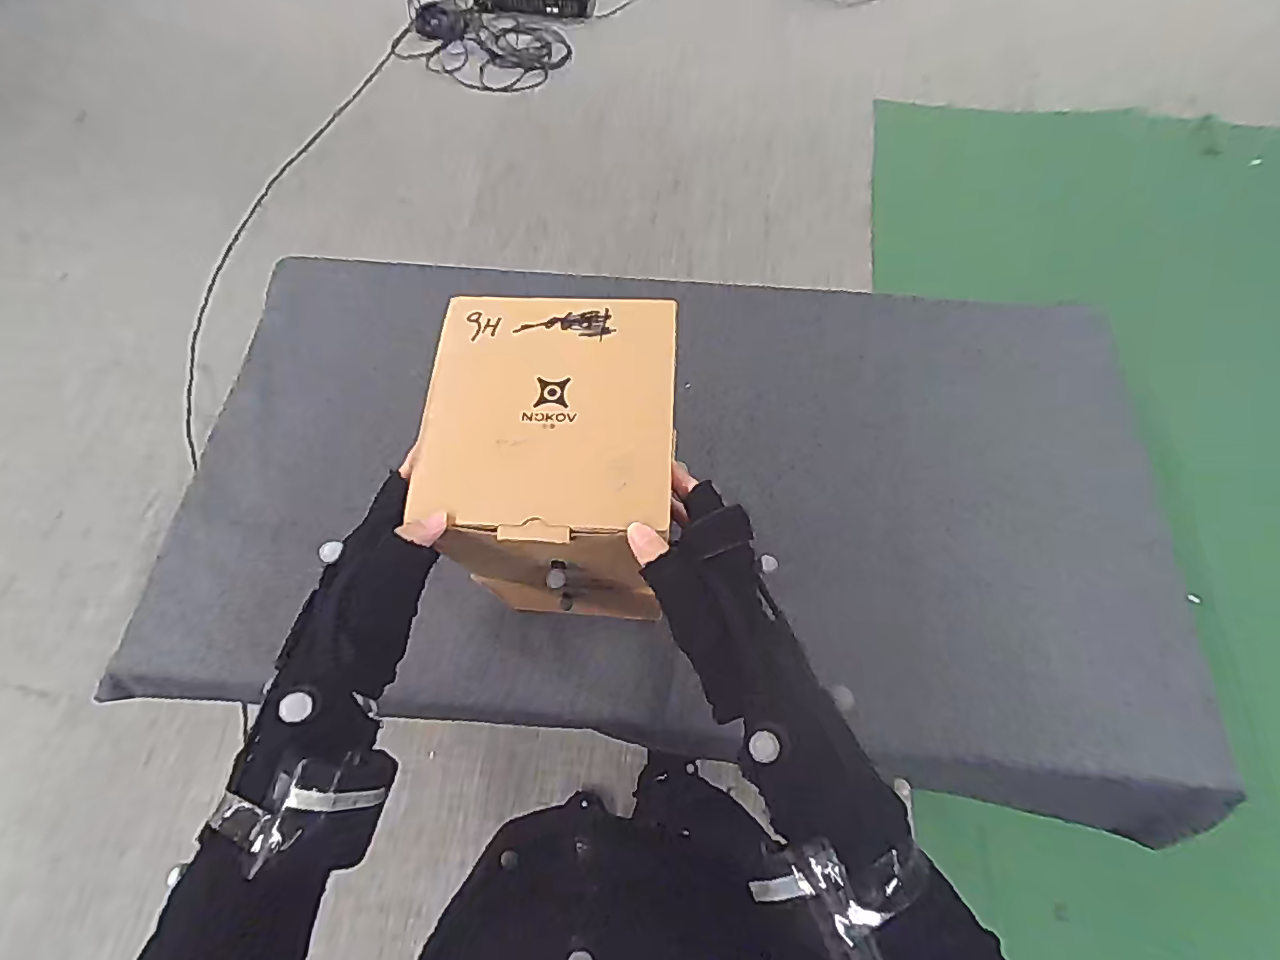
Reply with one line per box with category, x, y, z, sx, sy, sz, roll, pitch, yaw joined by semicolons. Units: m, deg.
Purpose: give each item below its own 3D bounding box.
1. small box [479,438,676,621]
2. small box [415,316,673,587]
small box;-0.055;0.057;0.594;0.179;0.176;0.168;4;68;2
small box;-0.057;-0.012;0.446;0.168;0.176;0.179;2;69;2
